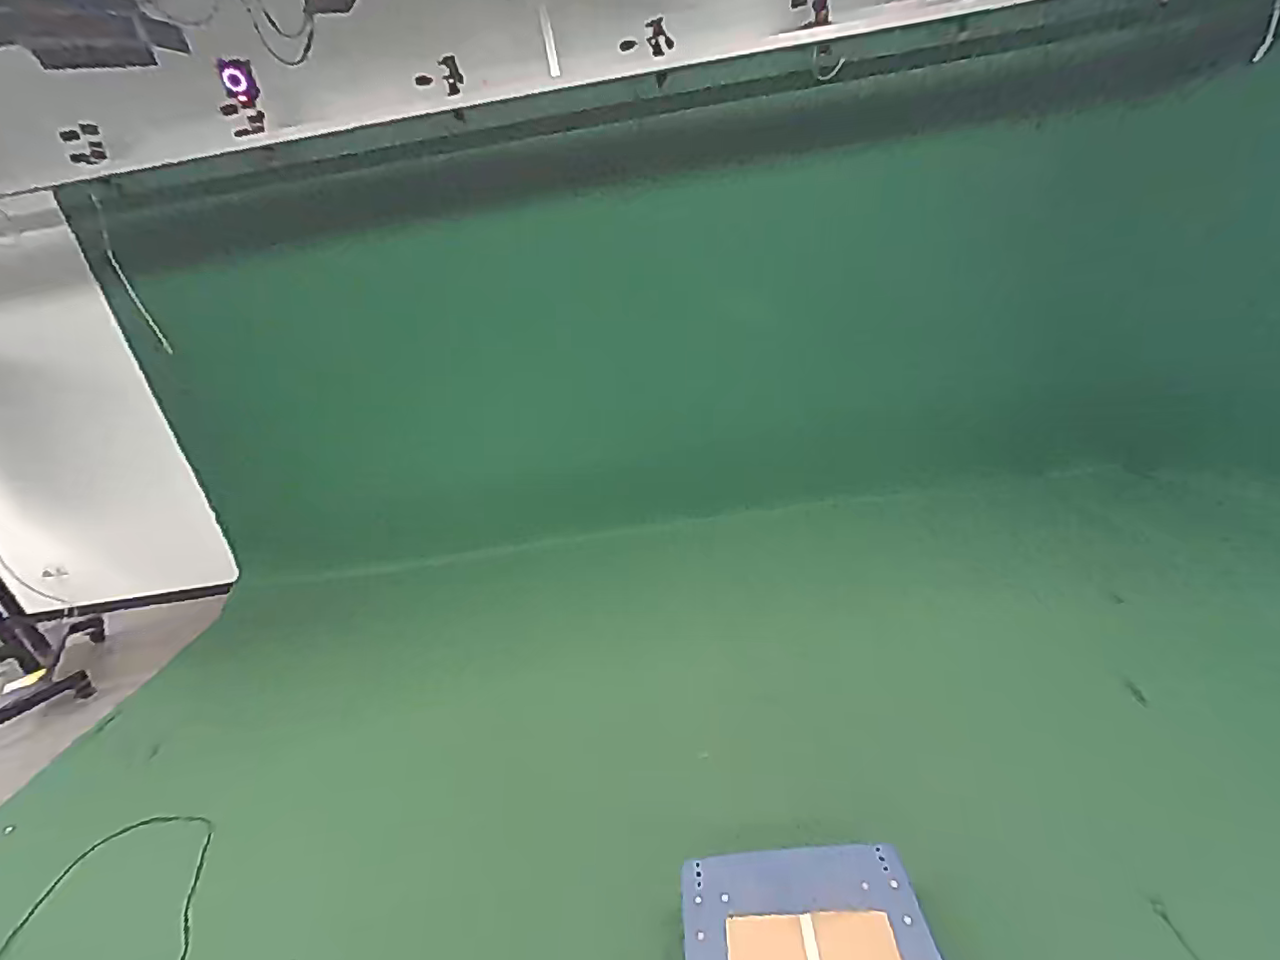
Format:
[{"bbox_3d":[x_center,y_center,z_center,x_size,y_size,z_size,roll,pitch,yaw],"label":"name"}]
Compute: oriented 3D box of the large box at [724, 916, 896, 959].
[{"bbox_3d":[0.333,1.074,0.928,0.320,0.320,0.408,-7,21,7],"label":"large box"}]
